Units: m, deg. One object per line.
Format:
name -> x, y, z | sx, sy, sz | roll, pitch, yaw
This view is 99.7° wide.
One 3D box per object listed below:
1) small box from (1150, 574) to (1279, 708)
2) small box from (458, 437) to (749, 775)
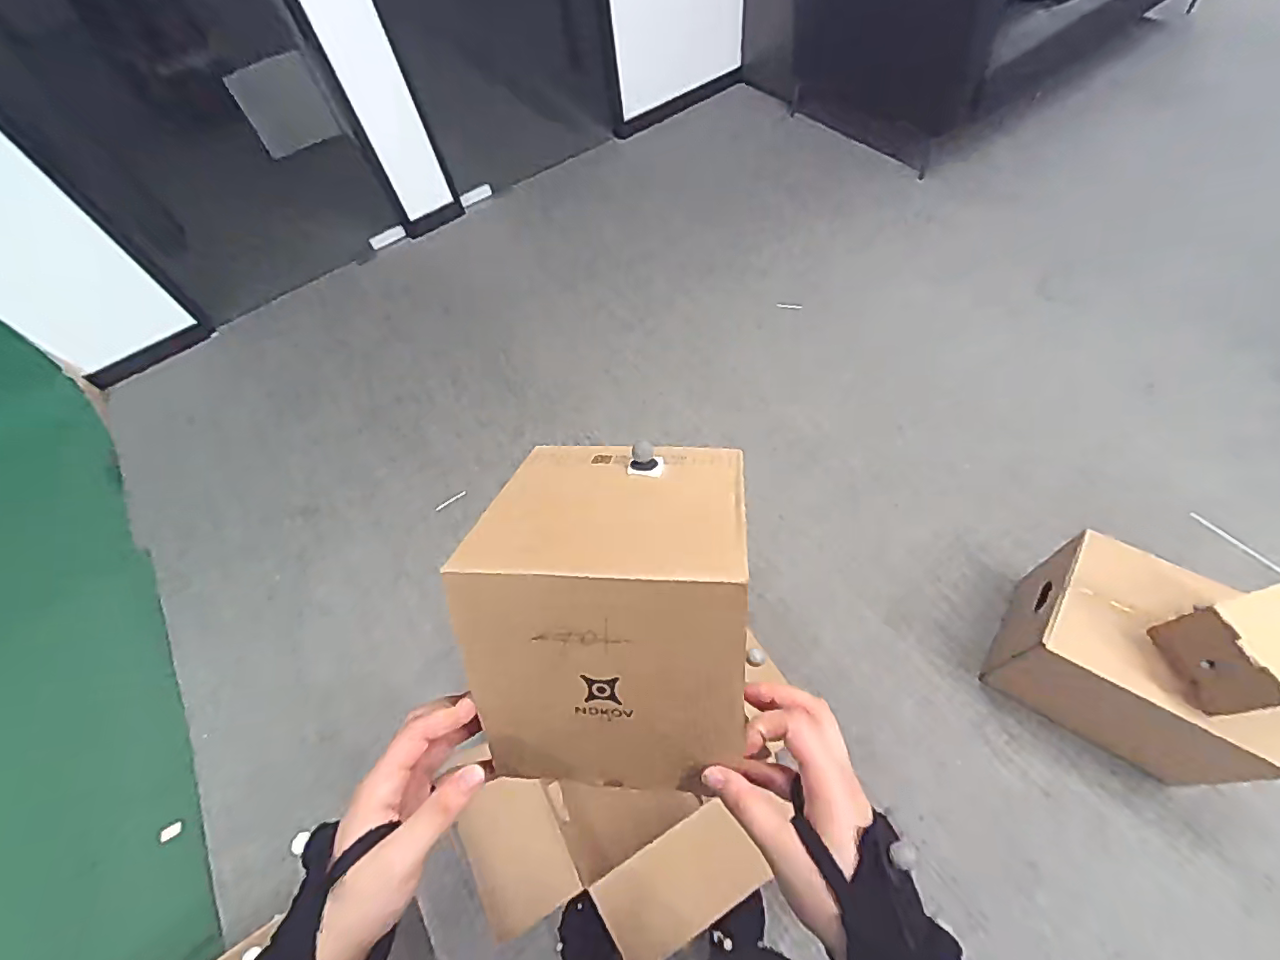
small box -> 1.062, 0.285, 0.946 | 0.179, 0.176, 0.168 | -16, 58, -1
small box -> -0.008, 0.081, 0.402 | 0.168, 0.179, 0.176 | 0, 27, 8
